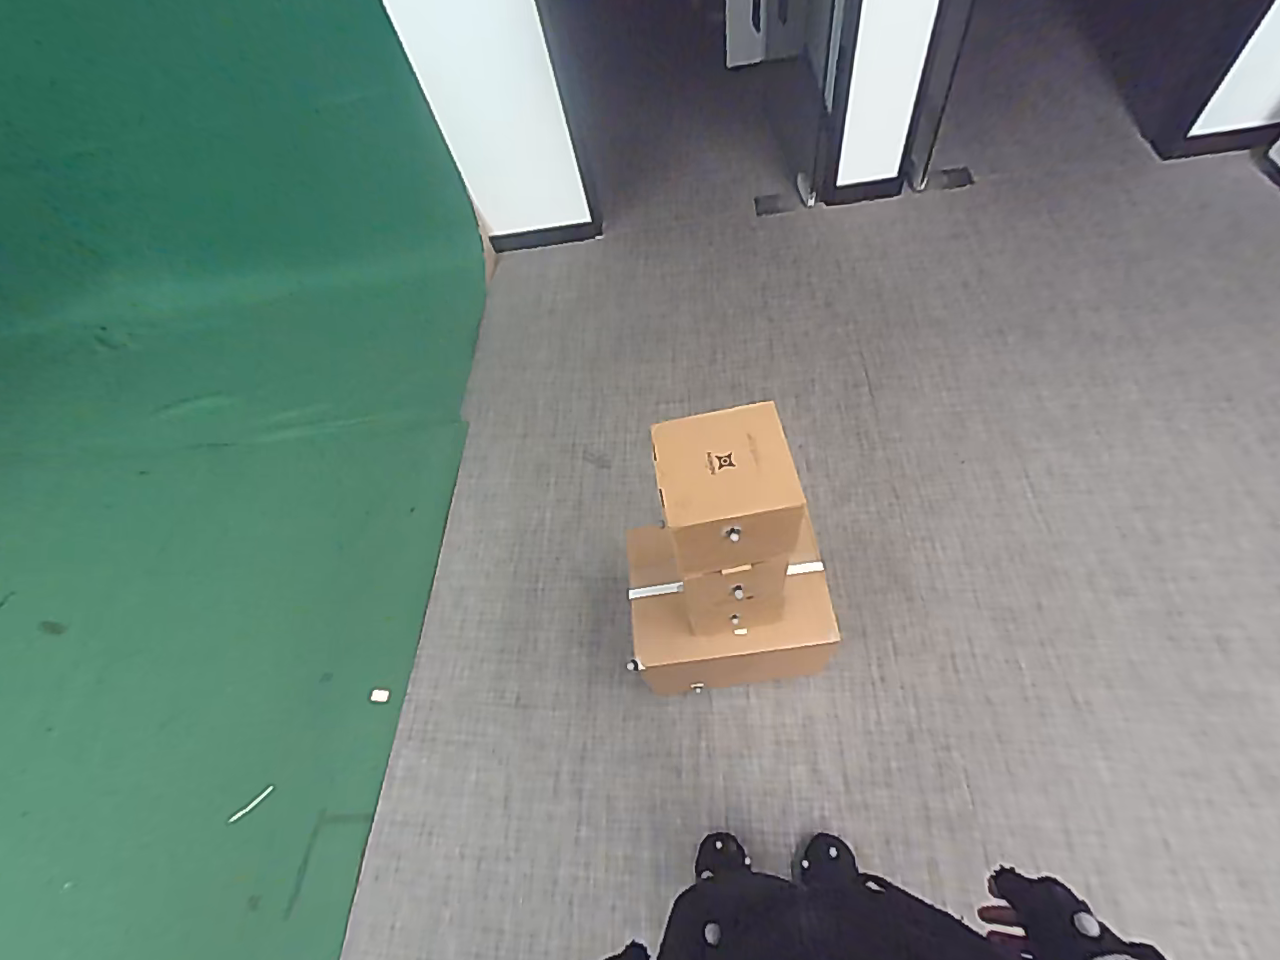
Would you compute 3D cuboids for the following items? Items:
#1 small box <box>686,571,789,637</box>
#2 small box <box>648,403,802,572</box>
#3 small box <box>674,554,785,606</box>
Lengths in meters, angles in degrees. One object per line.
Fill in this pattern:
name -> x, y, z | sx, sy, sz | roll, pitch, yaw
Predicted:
small box -> 0.170, 0.188, 1.042 | 0.179, 0.176, 0.168 | -13, 58, 2
small box -> 0.117, 0.019, 0.769 | 0.179, 0.176, 0.168 | -11, 59, 4
small box -> 0.138, 0.101, 0.908 | 0.168, 0.176, 0.179 | -12, 58, 4
